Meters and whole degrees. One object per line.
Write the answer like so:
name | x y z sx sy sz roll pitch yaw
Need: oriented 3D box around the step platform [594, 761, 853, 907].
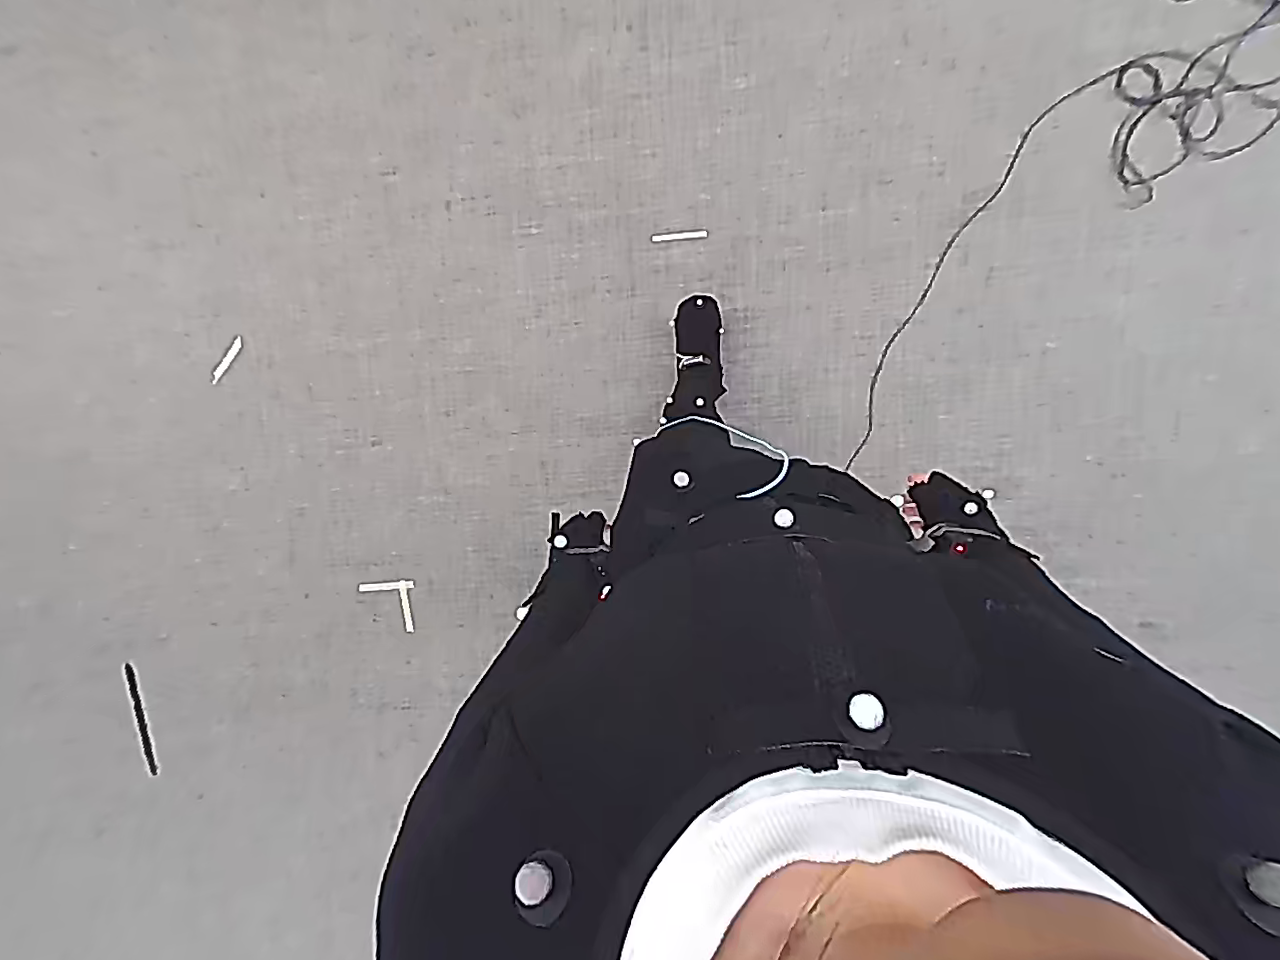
step platform | 0.218 0.962 1.482 0.684 0.204 0.286 -4 98 8
